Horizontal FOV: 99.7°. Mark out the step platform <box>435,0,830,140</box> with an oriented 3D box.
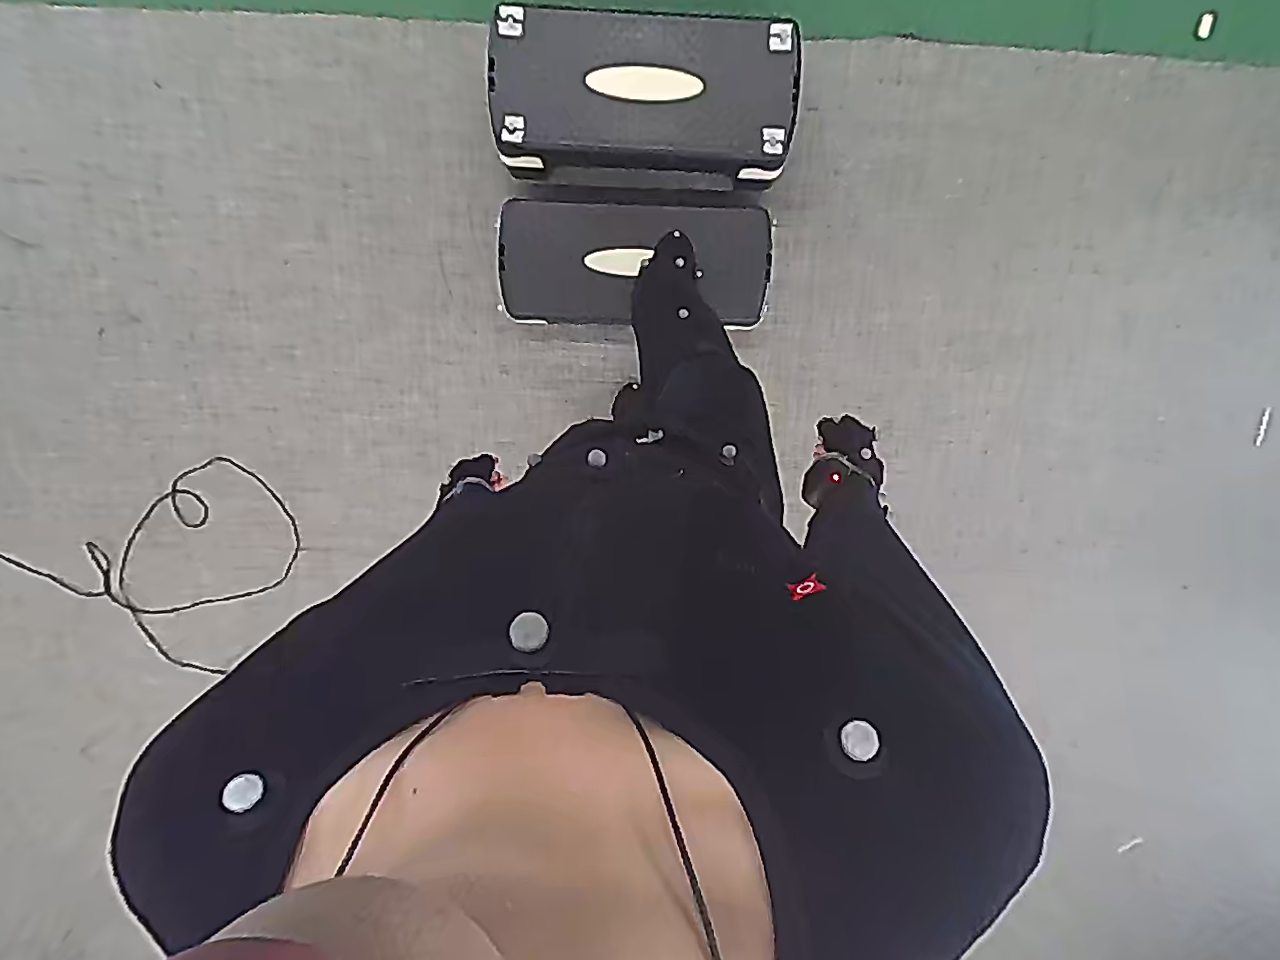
[{"bbox_3d":[-0.012,-0.832,1.016,0.684,0.204,0.286,2,103,-1],"label":"step platform"}]
